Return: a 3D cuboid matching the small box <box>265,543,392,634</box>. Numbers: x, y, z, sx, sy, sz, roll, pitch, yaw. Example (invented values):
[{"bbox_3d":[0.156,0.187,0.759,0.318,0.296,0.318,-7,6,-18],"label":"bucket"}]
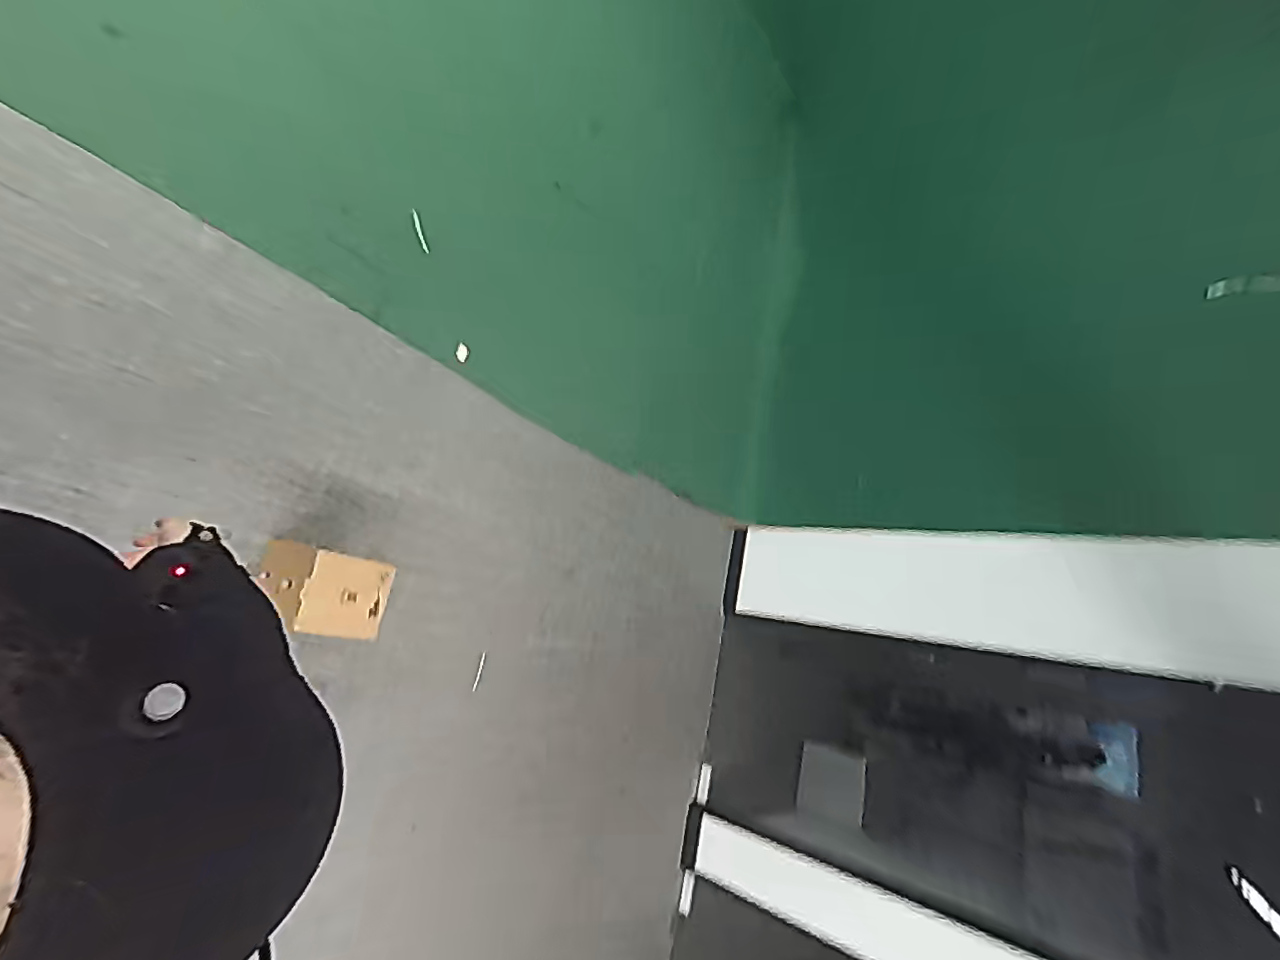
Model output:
[{"bbox_3d":[-0.700,0.240,1.211,0.179,0.176,0.168,28,67,-46],"label":"small box"}]
